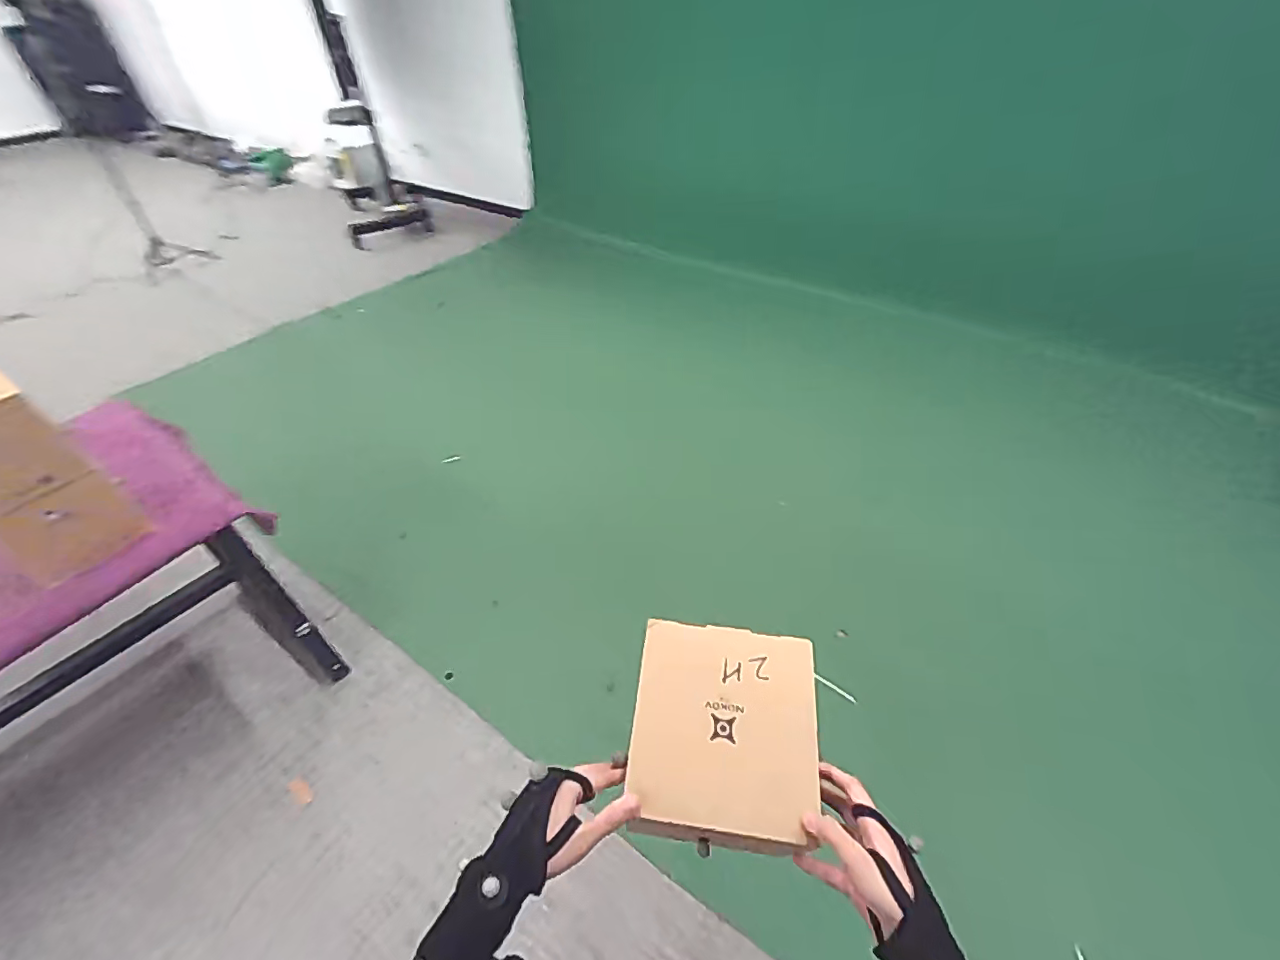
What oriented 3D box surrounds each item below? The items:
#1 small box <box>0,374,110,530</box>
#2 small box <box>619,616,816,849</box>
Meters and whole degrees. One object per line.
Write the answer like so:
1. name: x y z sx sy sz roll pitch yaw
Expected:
1. small box: -1.060 -0.046 0.901 0.179 0.176 0.168 25 52 26
2. small box: 0.077 0.263 0.558 0.168 0.176 0.179 5 52 6
